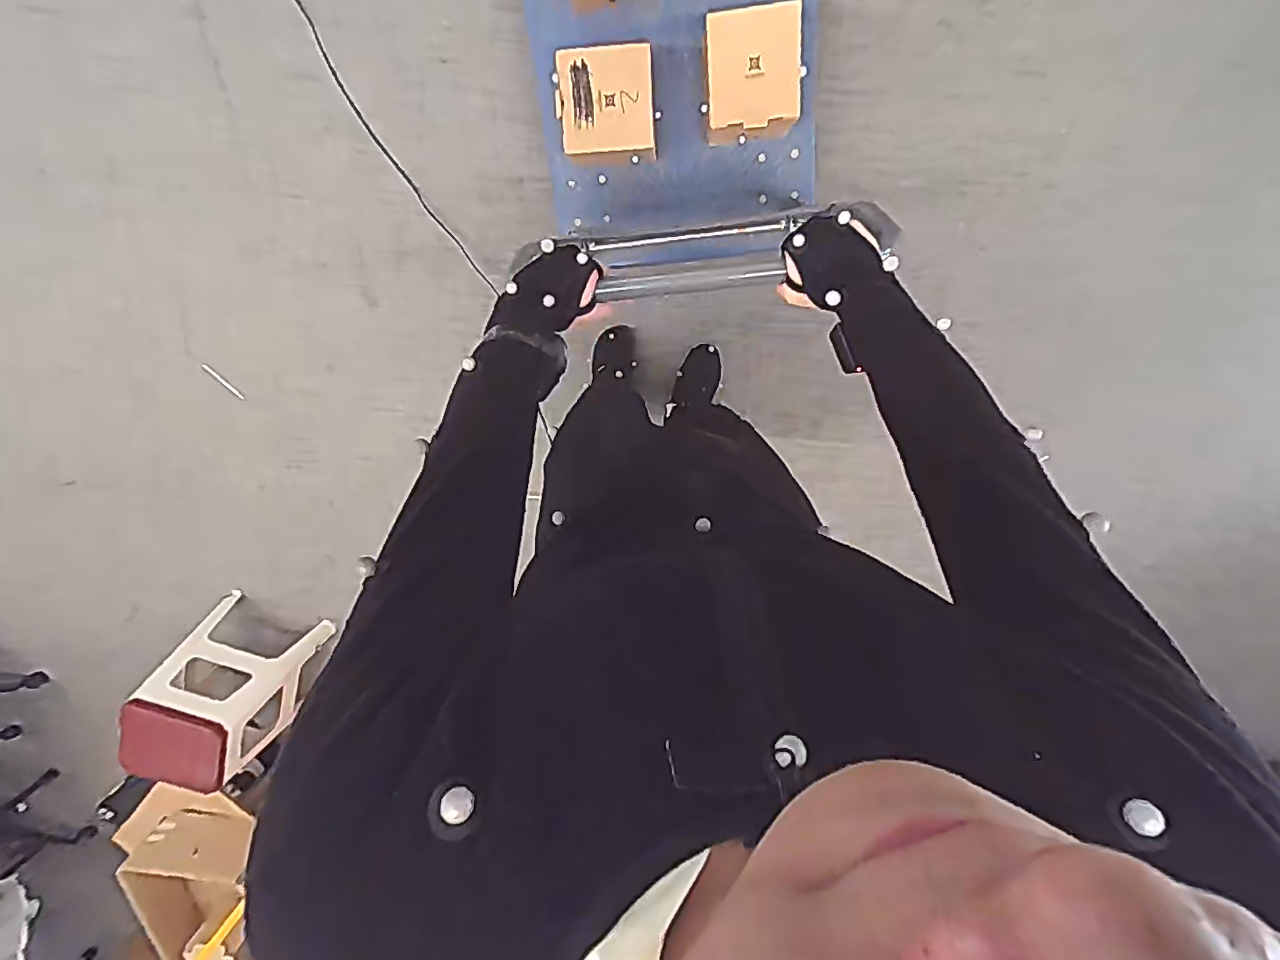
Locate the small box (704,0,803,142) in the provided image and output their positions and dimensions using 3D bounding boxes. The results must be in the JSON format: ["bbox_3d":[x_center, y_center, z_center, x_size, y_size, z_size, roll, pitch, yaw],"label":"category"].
[{"bbox_3d":[0.213,-0.780,1.046,0.168,0.176,0.179,-4,113,6],"label":"small box"}]

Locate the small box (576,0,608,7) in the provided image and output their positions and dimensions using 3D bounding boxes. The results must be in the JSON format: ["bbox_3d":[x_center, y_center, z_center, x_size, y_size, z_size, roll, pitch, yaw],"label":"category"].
[{"bbox_3d":[-0.068,-0.999,0.972,0.168,0.176,0.179,-12,111,8],"label":"small box"}]
